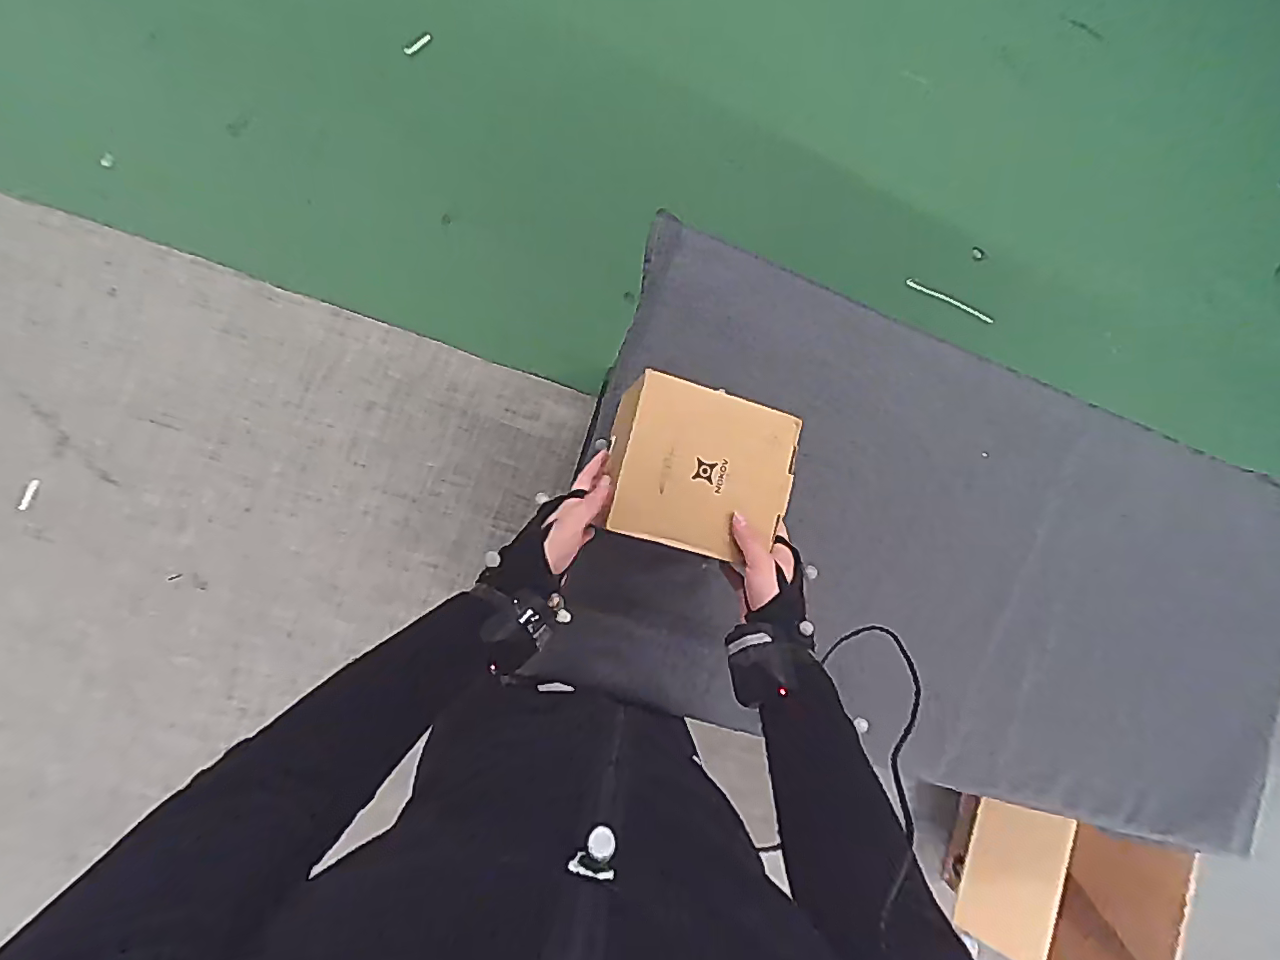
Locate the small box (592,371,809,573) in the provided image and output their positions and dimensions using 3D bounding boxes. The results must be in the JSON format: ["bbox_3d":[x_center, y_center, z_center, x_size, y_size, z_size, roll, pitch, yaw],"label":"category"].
[{"bbox_3d":[0.055,-0.004,0.605,0.179,0.176,0.168,15,85,-10],"label":"small box"}]
